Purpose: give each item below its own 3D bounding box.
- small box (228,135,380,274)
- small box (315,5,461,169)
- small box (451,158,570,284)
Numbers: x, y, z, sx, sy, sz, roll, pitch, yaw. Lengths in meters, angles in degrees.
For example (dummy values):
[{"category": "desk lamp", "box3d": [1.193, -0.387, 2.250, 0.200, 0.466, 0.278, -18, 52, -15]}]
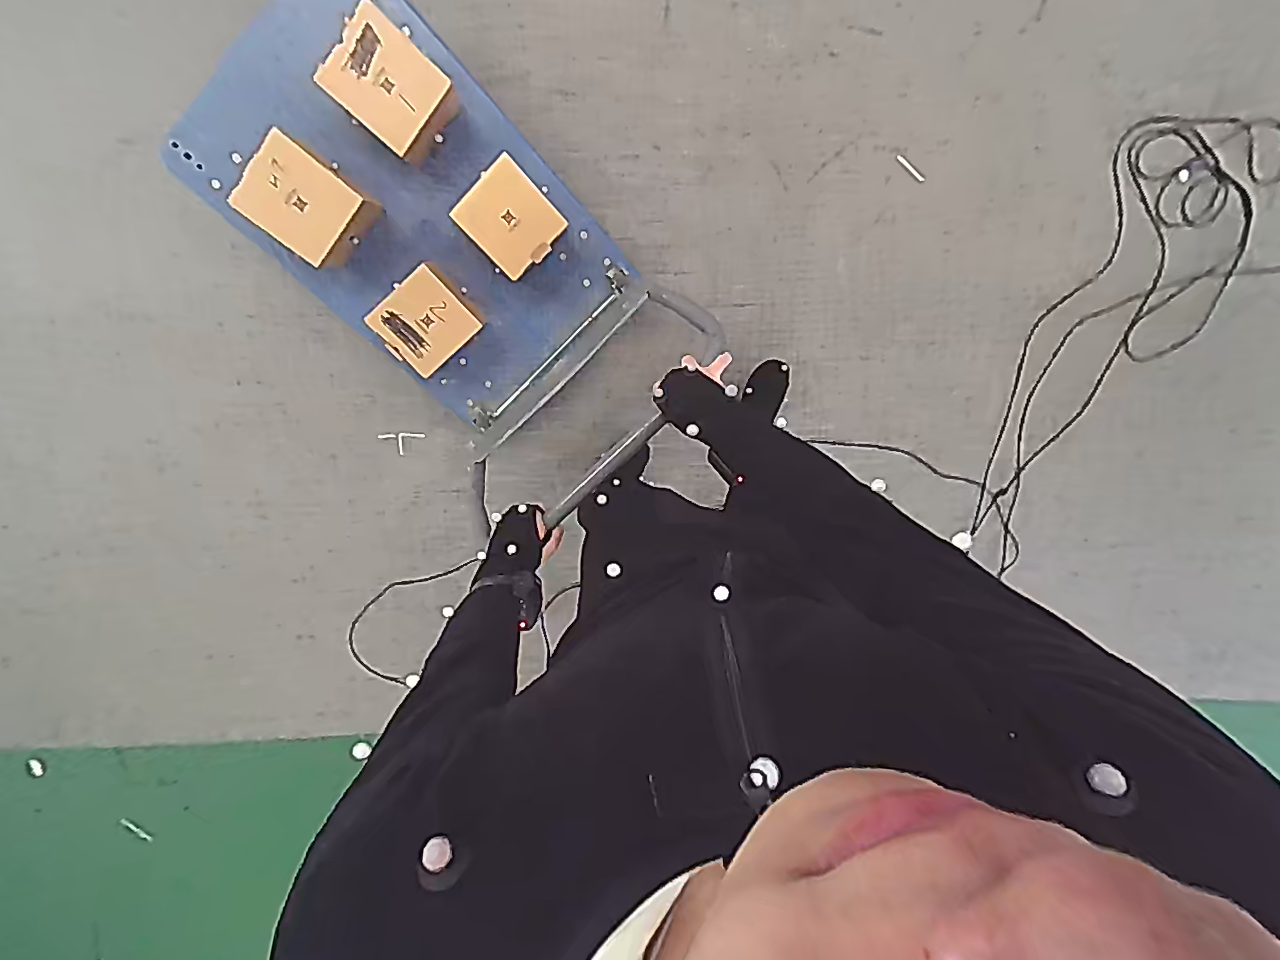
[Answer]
[{"category": "small box", "box3d": [-0.652, -0.538, 1.076, 0.179, 0.176, 0.168, 37, 100, -23]}, {"category": "small box", "box3d": [-0.469, -0.730, 1.034, 0.179, 0.176, 0.168, 38, 101, -23]}, {"category": "small box", "box3d": [-0.274, -0.543, 1.156, 0.168, 0.176, 0.179, -44, 115, 8]}]
